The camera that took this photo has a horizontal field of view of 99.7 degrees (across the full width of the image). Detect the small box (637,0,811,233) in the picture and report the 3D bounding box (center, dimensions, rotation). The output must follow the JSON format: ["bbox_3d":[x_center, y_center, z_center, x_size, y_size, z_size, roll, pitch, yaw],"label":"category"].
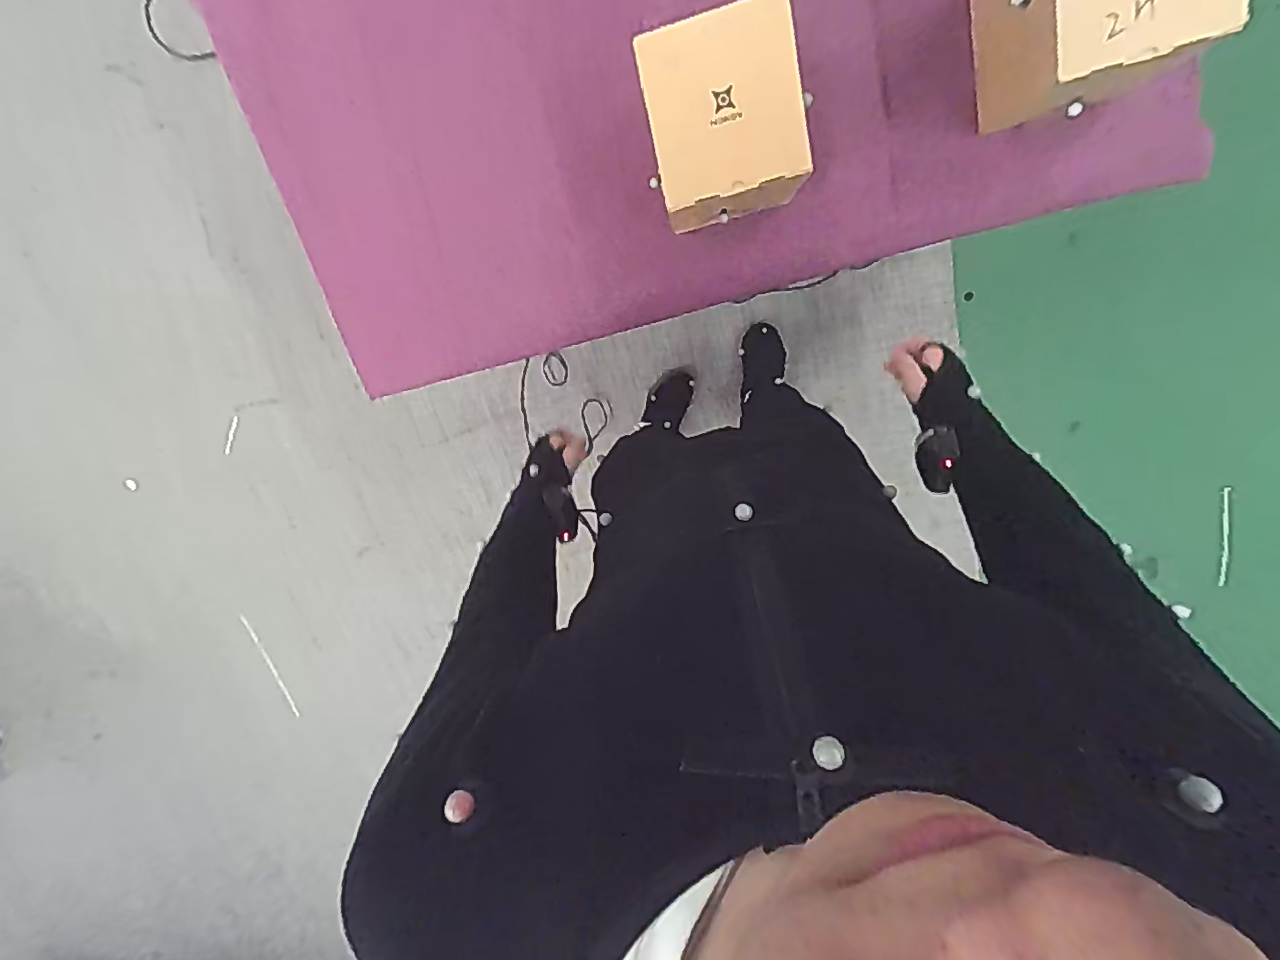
[{"bbox_3d":[0.098,-0.425,0.663,0.168,0.176,0.179,-12,106,9],"label":"small box"}]

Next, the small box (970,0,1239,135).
[{"bbox_3d":[0.485,-0.517,0.589,0.168,0.176,0.179,-11,105,10],"label":"small box"}]
